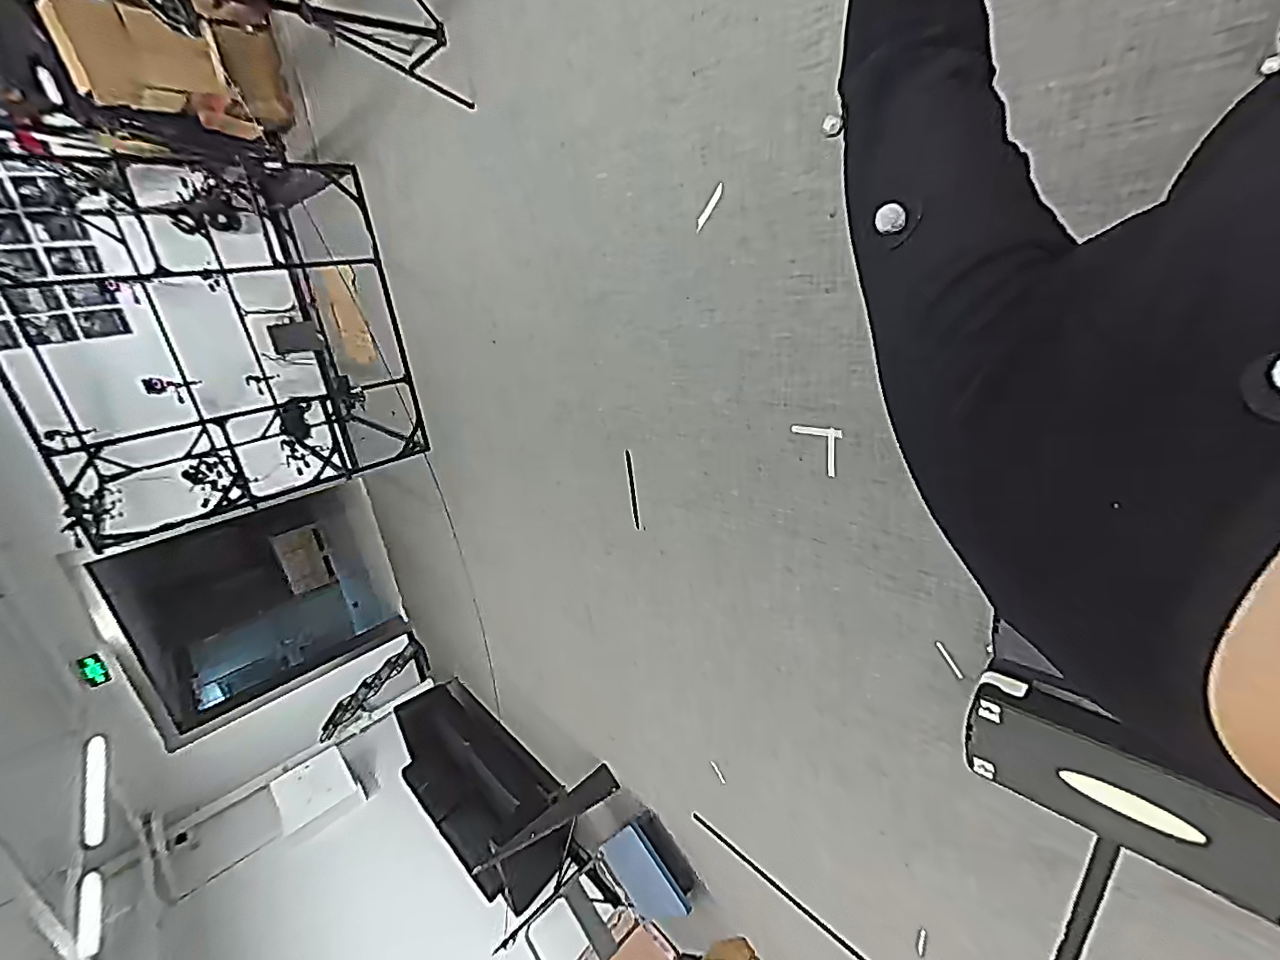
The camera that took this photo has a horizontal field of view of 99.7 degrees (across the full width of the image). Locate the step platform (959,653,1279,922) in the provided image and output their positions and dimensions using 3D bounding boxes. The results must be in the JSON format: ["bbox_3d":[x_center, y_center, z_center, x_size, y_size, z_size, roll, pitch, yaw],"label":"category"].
[{"bbox_3d":[1.158,0.692,1.290,0.684,0.204,0.286,15,120,47],"label":"step platform"}]
